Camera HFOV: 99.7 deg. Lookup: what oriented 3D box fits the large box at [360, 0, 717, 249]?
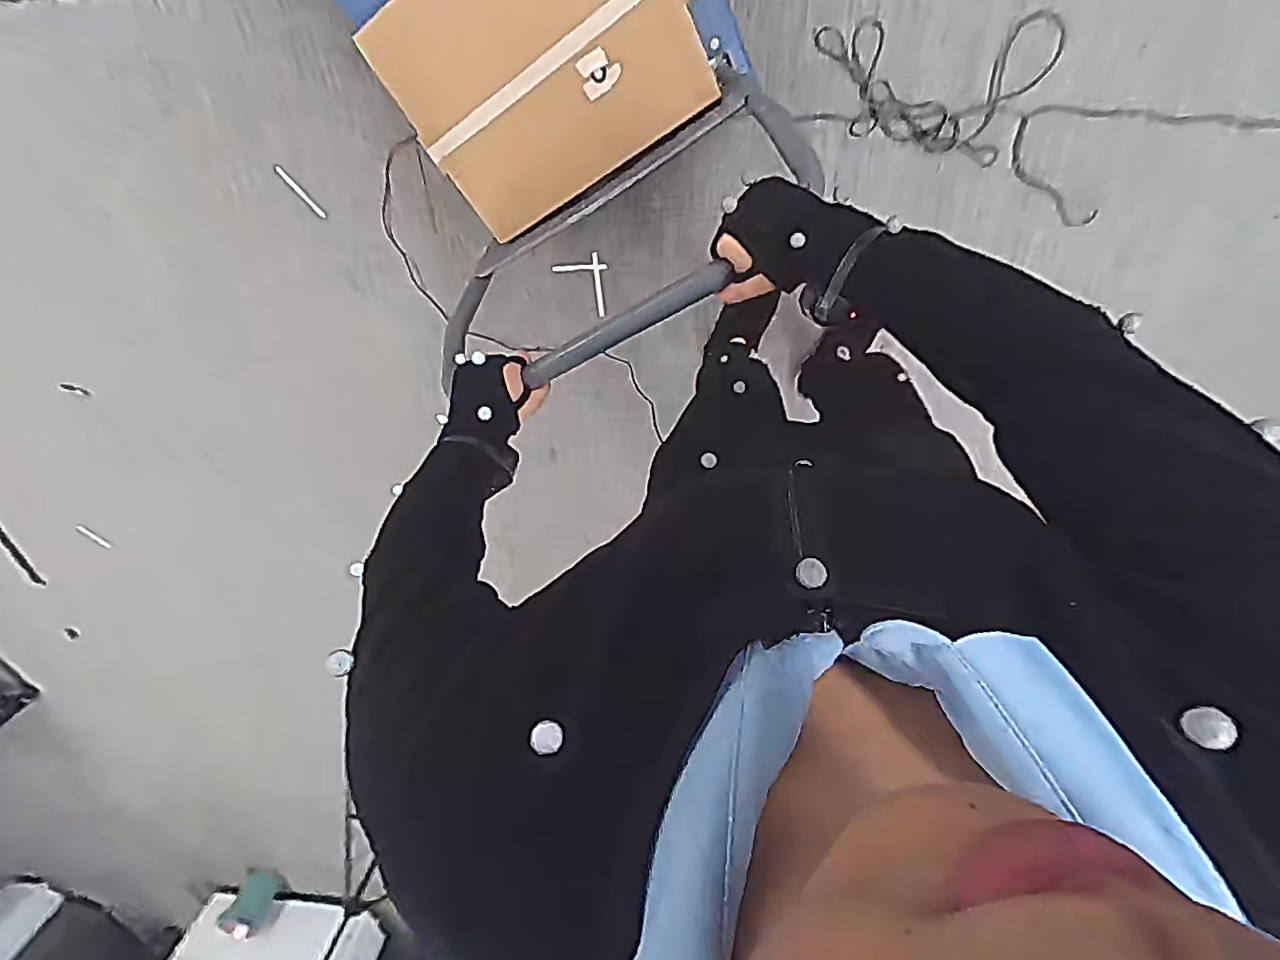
[{"bbox_3d":[-0.136,-0.649,0.857,0.408,0.320,0.320,-25,125,20],"label":"large box"}]
